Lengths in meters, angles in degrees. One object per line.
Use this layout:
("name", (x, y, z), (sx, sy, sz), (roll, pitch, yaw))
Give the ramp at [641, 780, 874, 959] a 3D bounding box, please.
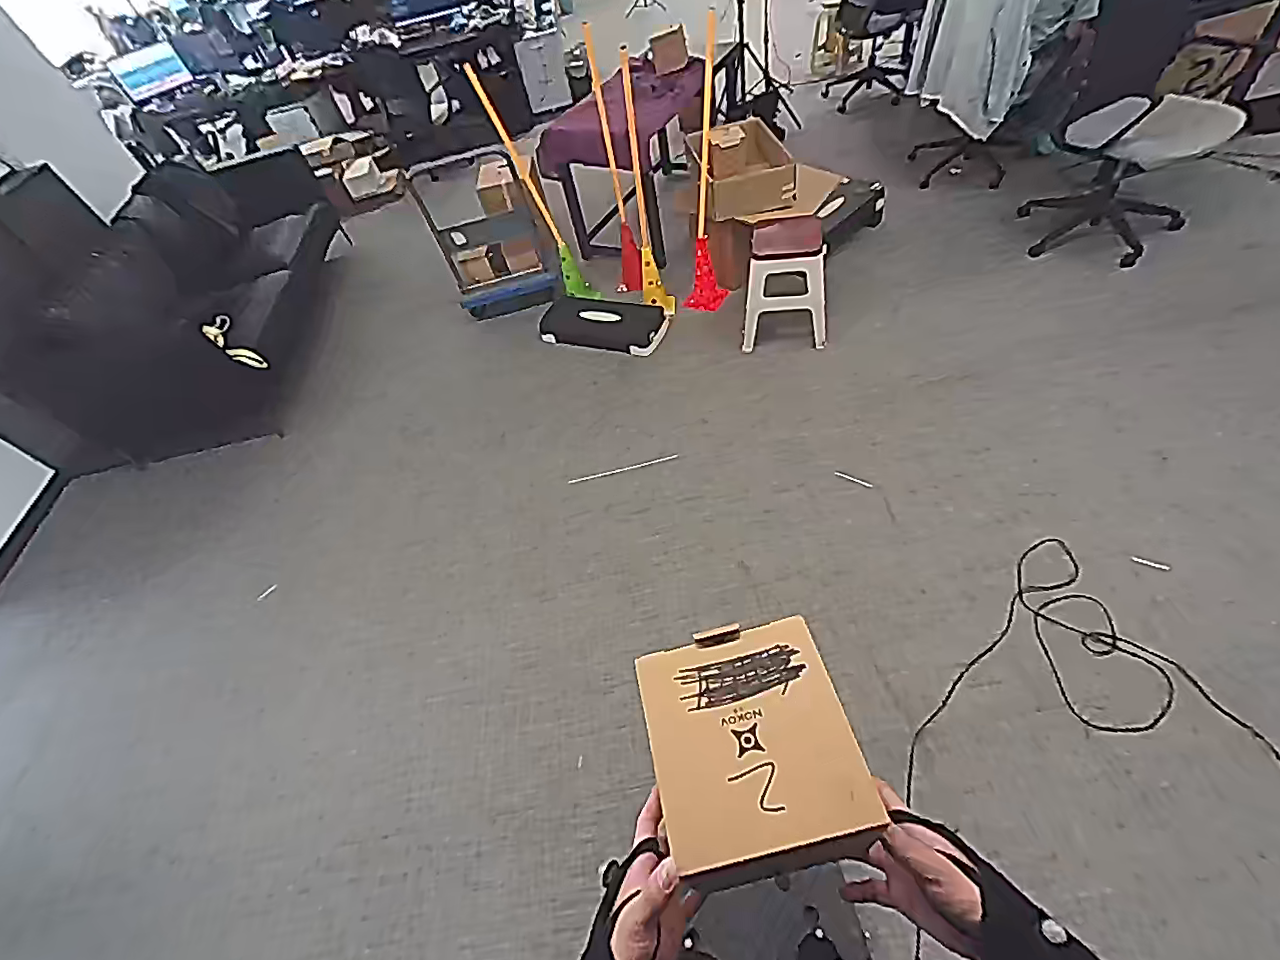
("ramp", (0.288, 1.187, 1.099), (0.509, 0.206, 0.991), (-16, 50, 3))
